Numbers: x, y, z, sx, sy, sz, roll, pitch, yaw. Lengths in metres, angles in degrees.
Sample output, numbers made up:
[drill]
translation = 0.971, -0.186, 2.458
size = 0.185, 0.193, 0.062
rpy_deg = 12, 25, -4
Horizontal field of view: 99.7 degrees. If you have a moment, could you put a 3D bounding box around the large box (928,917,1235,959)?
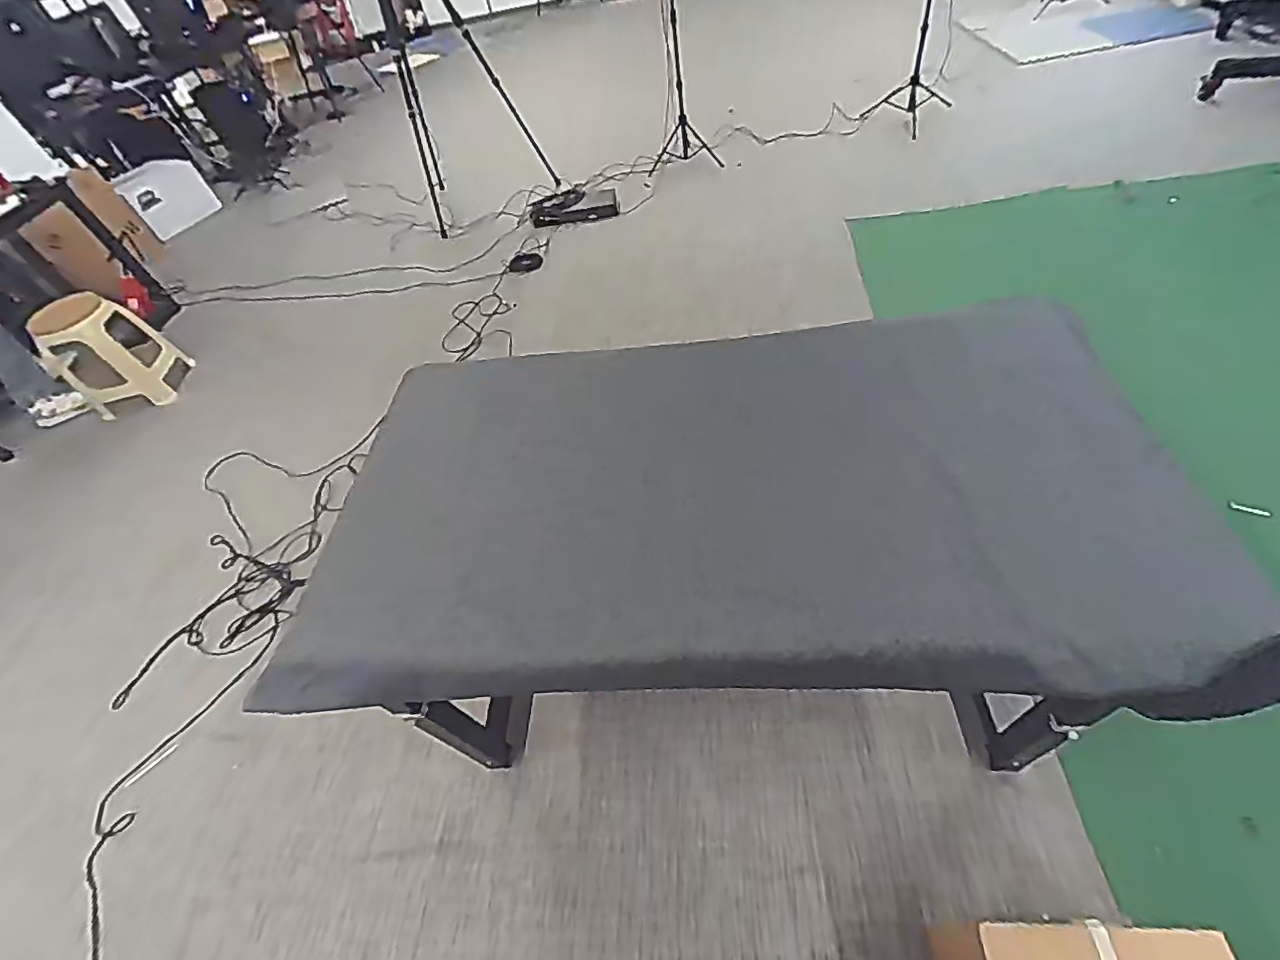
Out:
[large box]
translation = 0.654, 0.863, 0.744
size = 0.320, 0.320, 0.408
rpy_deg = -5, 51, 9
